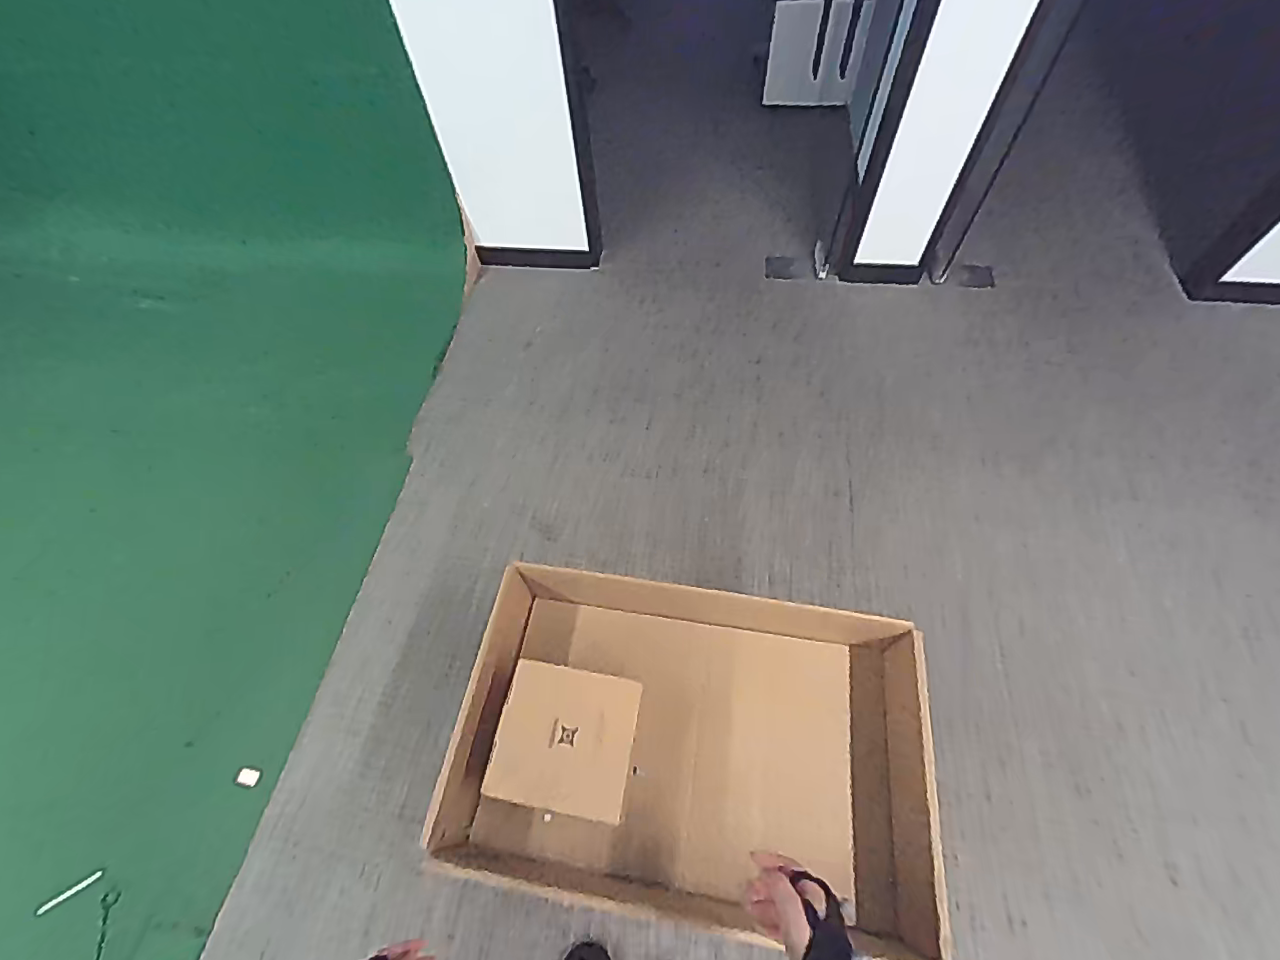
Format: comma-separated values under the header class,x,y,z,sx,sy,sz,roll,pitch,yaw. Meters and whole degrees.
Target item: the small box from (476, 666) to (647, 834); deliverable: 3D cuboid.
class,x,y,z,sx,sy,sz,roll,pitch,yaw
small box,-0.094,0.374,0.746,0.179,0.176,0.168,8,60,9
